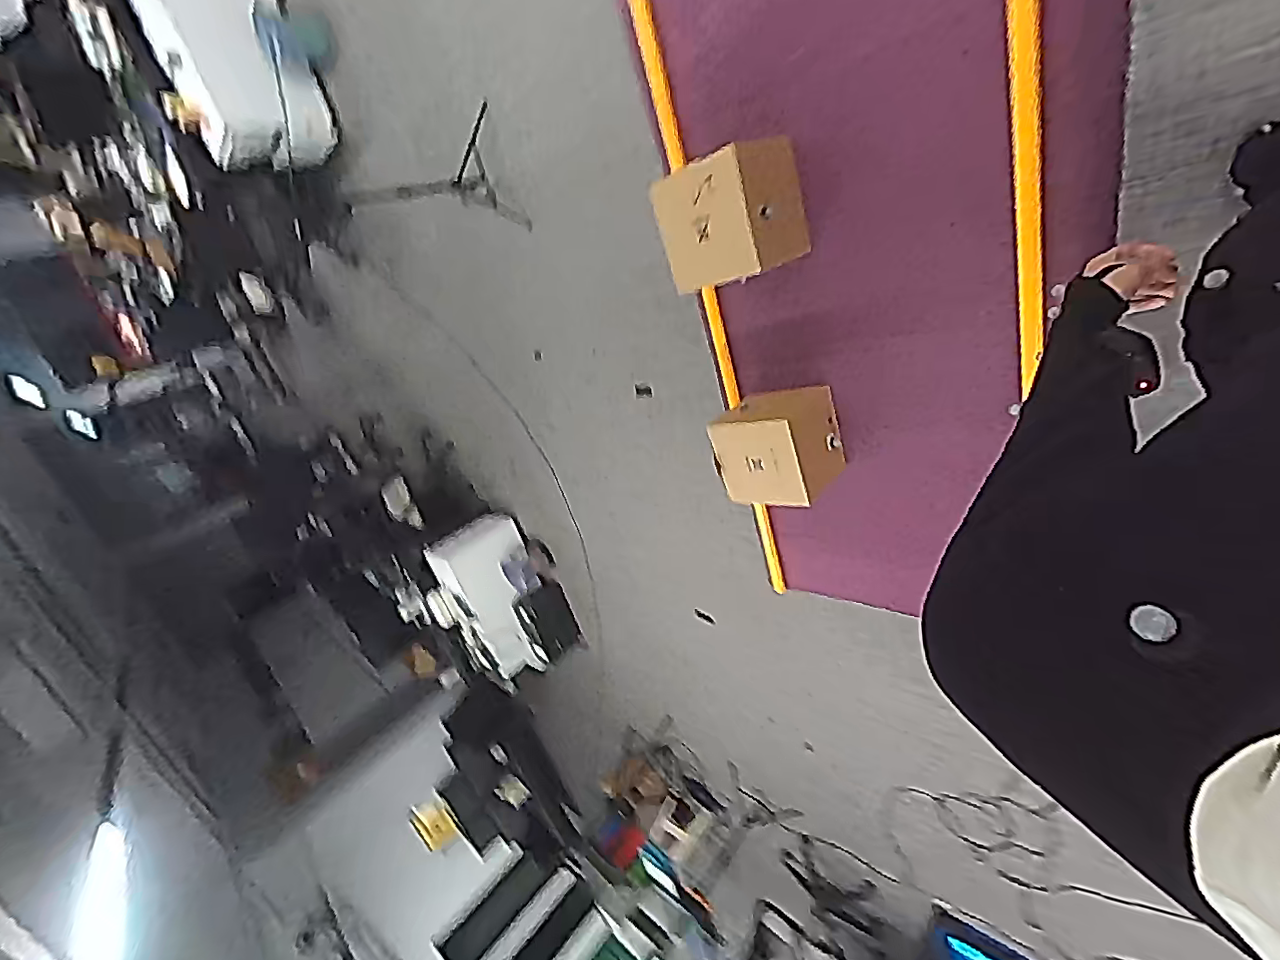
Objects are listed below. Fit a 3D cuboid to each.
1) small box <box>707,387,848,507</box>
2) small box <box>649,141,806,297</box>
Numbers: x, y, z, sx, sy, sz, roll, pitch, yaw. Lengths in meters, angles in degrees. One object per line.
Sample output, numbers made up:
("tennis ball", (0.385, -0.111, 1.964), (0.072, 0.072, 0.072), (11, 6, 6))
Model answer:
("small box", (0.262, -0.063, 1.021), (0.179, 0.176, 0.168), (0, 118, 47))
("small box", (0.148, -0.419, 0.874), (0.168, 0.176, 0.179), (3, 119, 46))
